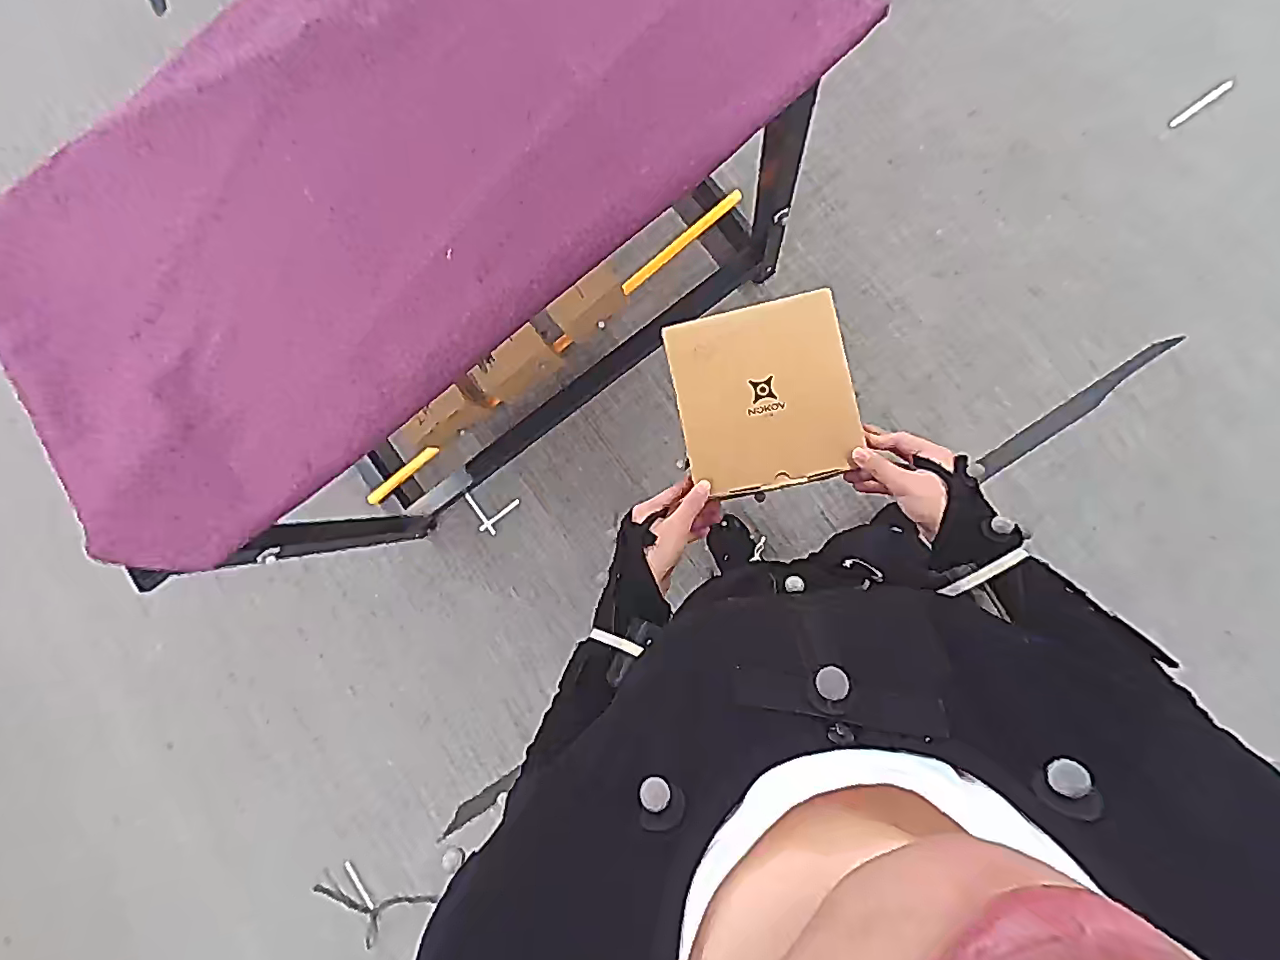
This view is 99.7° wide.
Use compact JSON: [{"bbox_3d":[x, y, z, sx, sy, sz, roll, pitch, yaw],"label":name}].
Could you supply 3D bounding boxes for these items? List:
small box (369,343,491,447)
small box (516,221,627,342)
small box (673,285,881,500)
[{"bbox_3d":[-0.490,-0.192,1.284,0.168,0.176,0.179,-37,87,5],"label":"small box"},{"bbox_3d":[-0.150,-0.445,1.246,0.168,0.176,0.179,-39,87,7],"label":"small box"},{"bbox_3d":[0.132,-0.078,0.583,0.168,0.176,0.179,-12,86,6],"label":"small box"}]
